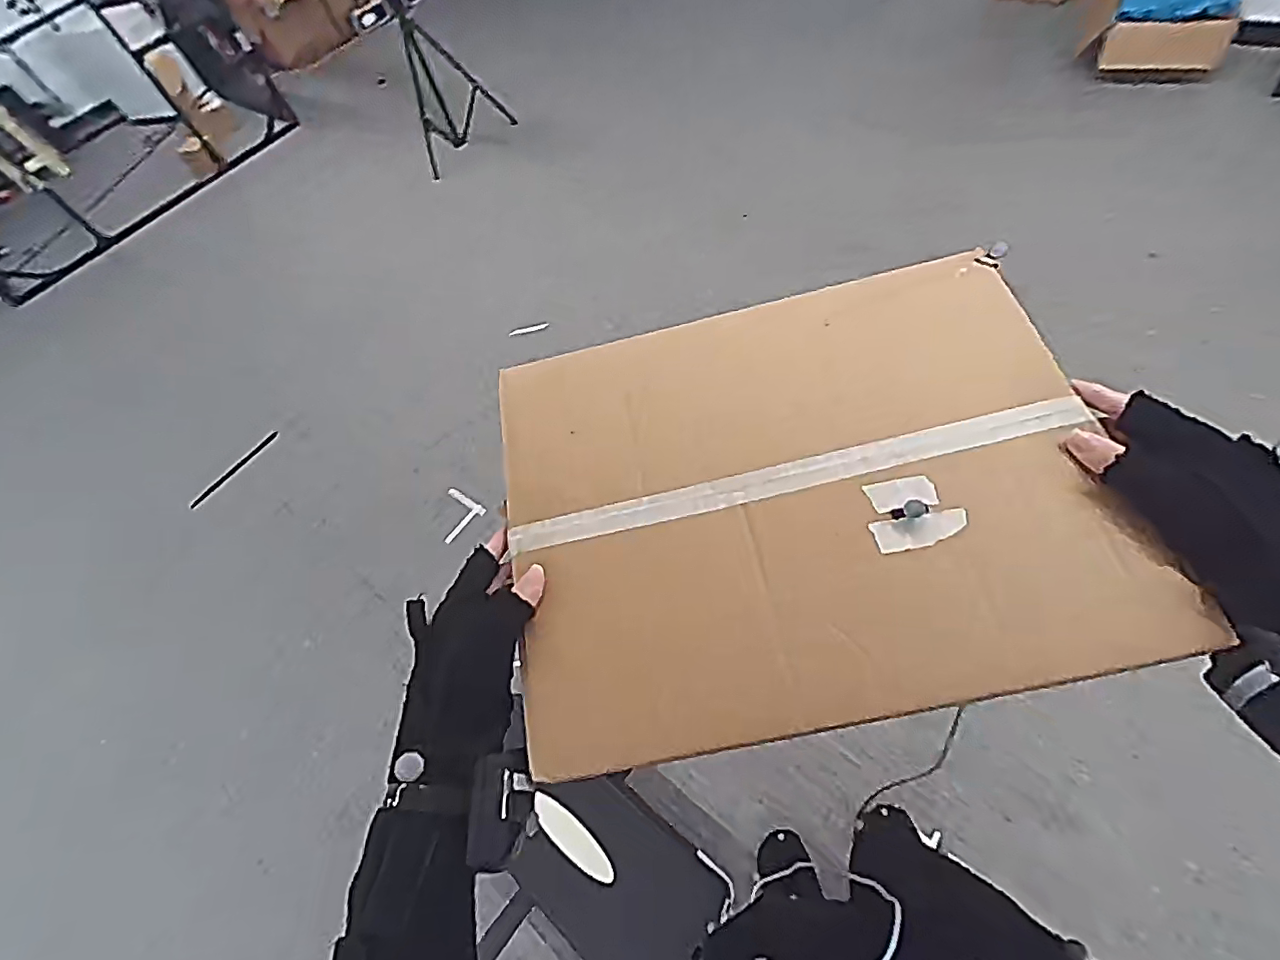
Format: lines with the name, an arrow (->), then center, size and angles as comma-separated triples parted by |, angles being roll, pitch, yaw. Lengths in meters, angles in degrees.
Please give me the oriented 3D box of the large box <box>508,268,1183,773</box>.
large box -> 0.126, 0.066, 0.528 | 0.408, 0.320, 0.320 | -14, 64, 3
